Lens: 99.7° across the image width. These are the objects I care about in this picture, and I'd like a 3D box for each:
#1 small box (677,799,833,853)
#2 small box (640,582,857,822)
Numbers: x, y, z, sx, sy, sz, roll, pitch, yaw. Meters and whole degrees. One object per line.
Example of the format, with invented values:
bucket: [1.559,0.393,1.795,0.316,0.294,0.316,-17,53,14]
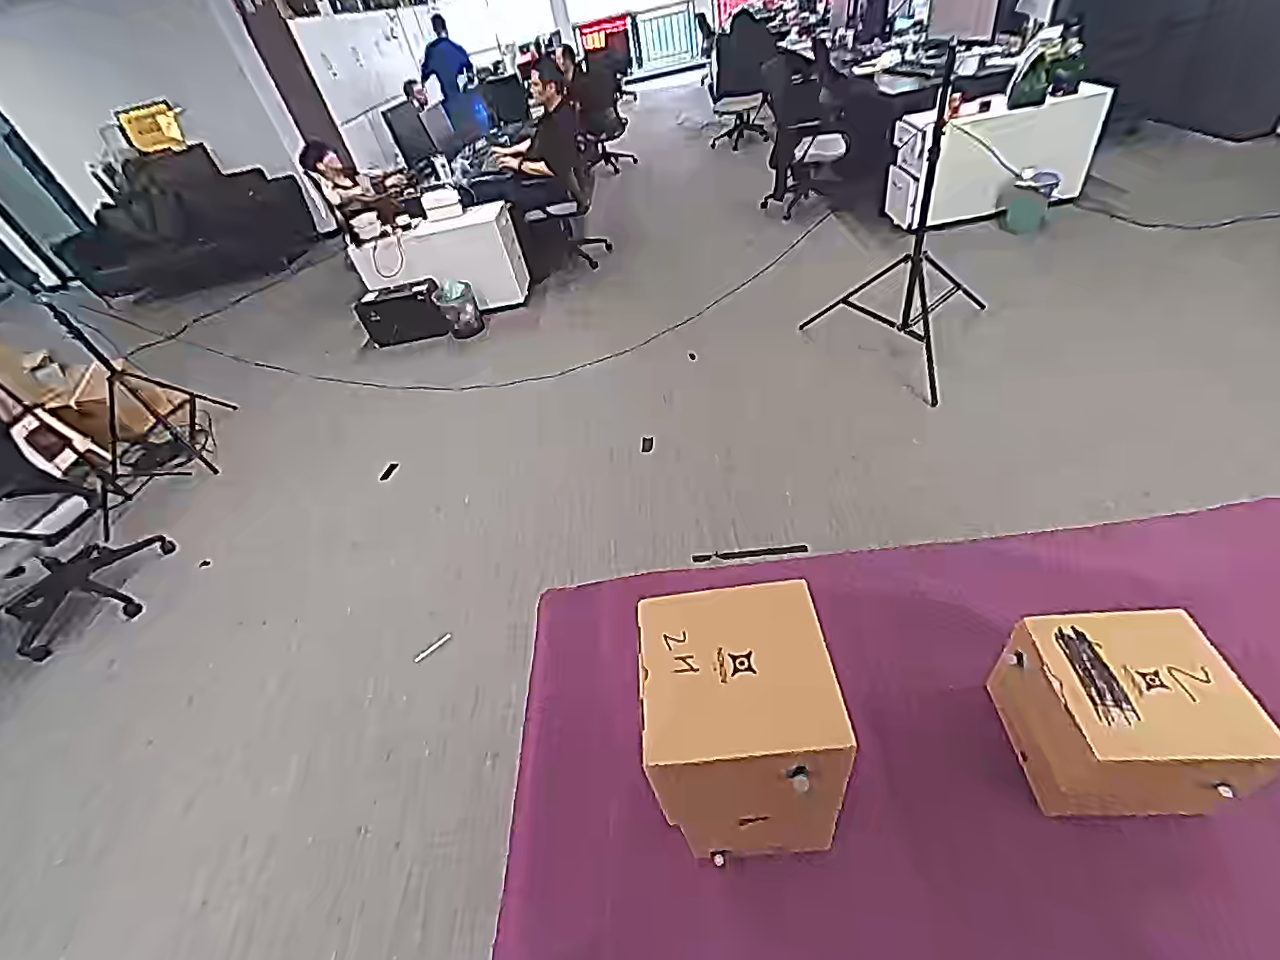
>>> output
small box: [0.131,0.340,0.666,0.168,0.176,0.179,-8,42,6]
small box: [0.100,0.228,0.550,0.179,0.176,0.168,-9,42,6]
